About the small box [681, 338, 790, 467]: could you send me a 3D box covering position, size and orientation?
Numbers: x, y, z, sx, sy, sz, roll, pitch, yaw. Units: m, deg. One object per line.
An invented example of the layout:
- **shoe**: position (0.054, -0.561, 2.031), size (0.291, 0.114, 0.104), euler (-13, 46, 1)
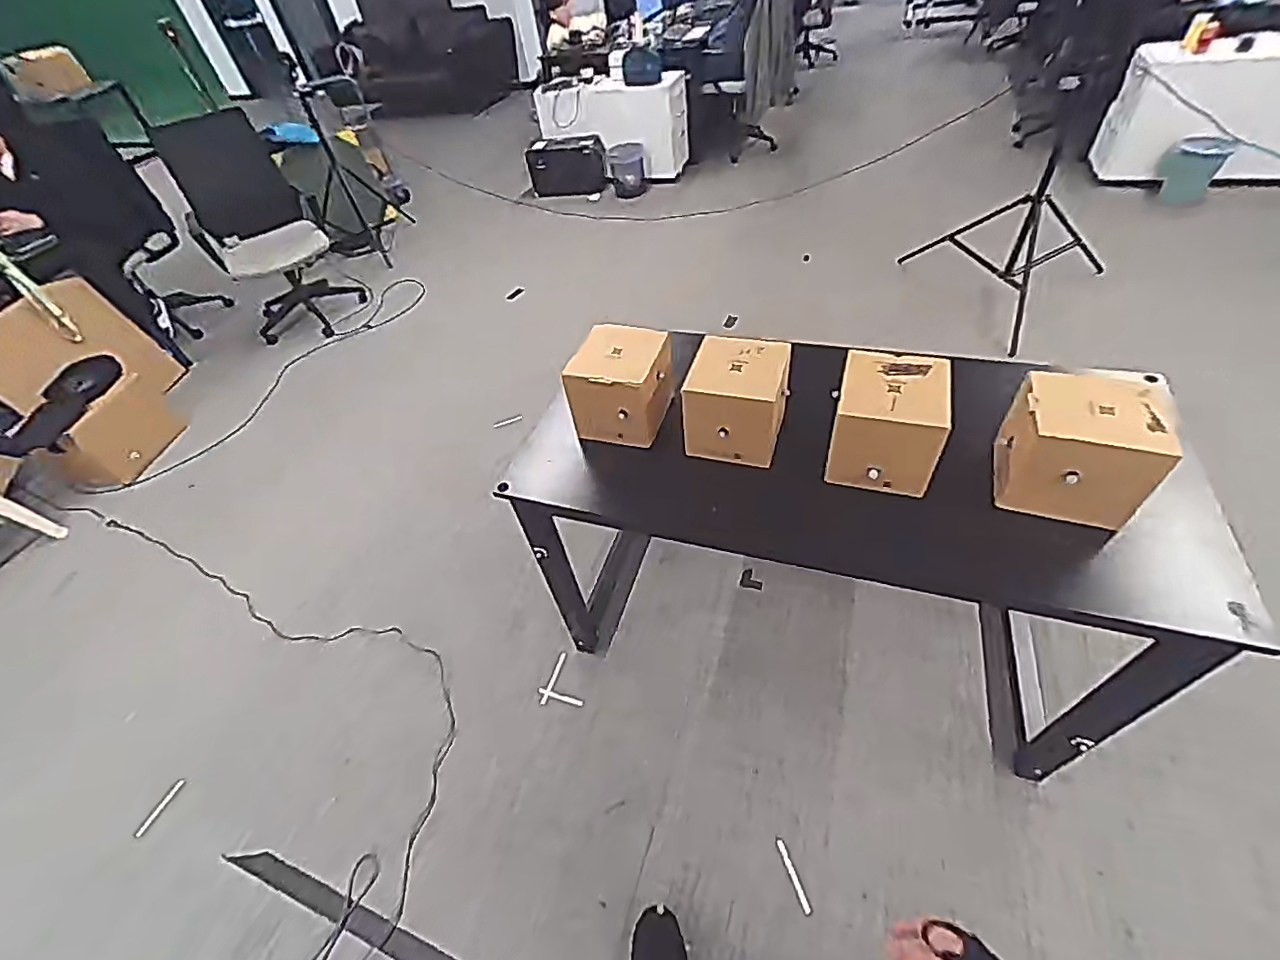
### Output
- **small box**: position (0.187, -0.148, 1.039), size (0.168, 0.176, 0.179), euler (11, 50, 17)

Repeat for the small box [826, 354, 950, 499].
- **small box**: position (0.431, -0.095, 0.953), size (0.168, 0.176, 0.179), euler (10, 51, 18)

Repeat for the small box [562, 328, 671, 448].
- **small box**: position (-0.037, -0.189, 1.114), size (0.168, 0.176, 0.179), euler (11, 49, 16)

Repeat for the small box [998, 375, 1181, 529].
- **small box**: position (0.694, -0.044, 0.865), size (0.179, 0.176, 0.168), euler (12, 50, 20)
